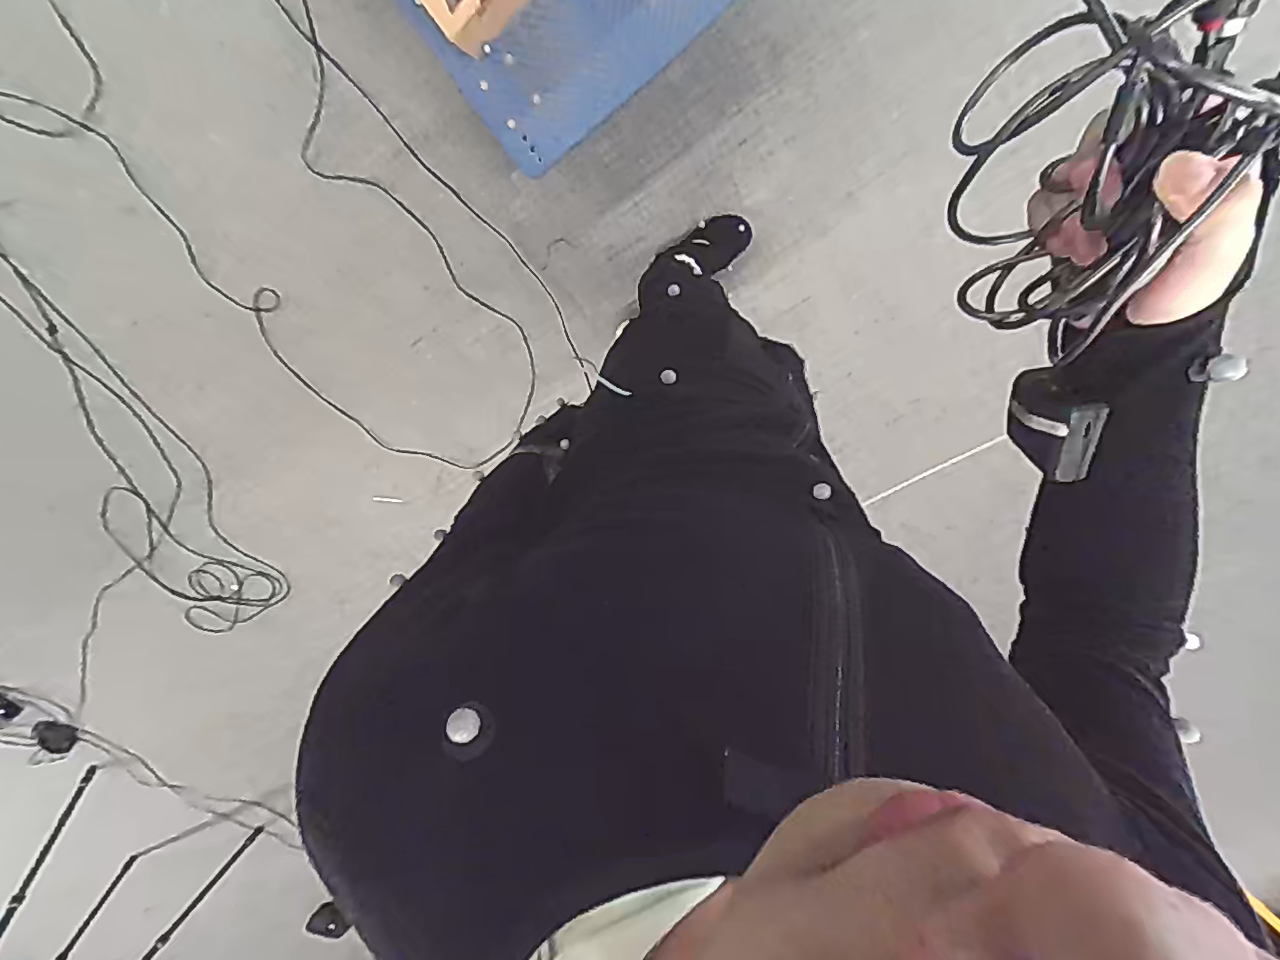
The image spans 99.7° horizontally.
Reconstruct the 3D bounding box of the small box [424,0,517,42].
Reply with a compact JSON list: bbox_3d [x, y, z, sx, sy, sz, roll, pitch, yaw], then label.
[{"bbox_3d":[-0.307,-0.887,0.911,0.168,0.176,0.179,-34,114,17],"label":"small box"}]
